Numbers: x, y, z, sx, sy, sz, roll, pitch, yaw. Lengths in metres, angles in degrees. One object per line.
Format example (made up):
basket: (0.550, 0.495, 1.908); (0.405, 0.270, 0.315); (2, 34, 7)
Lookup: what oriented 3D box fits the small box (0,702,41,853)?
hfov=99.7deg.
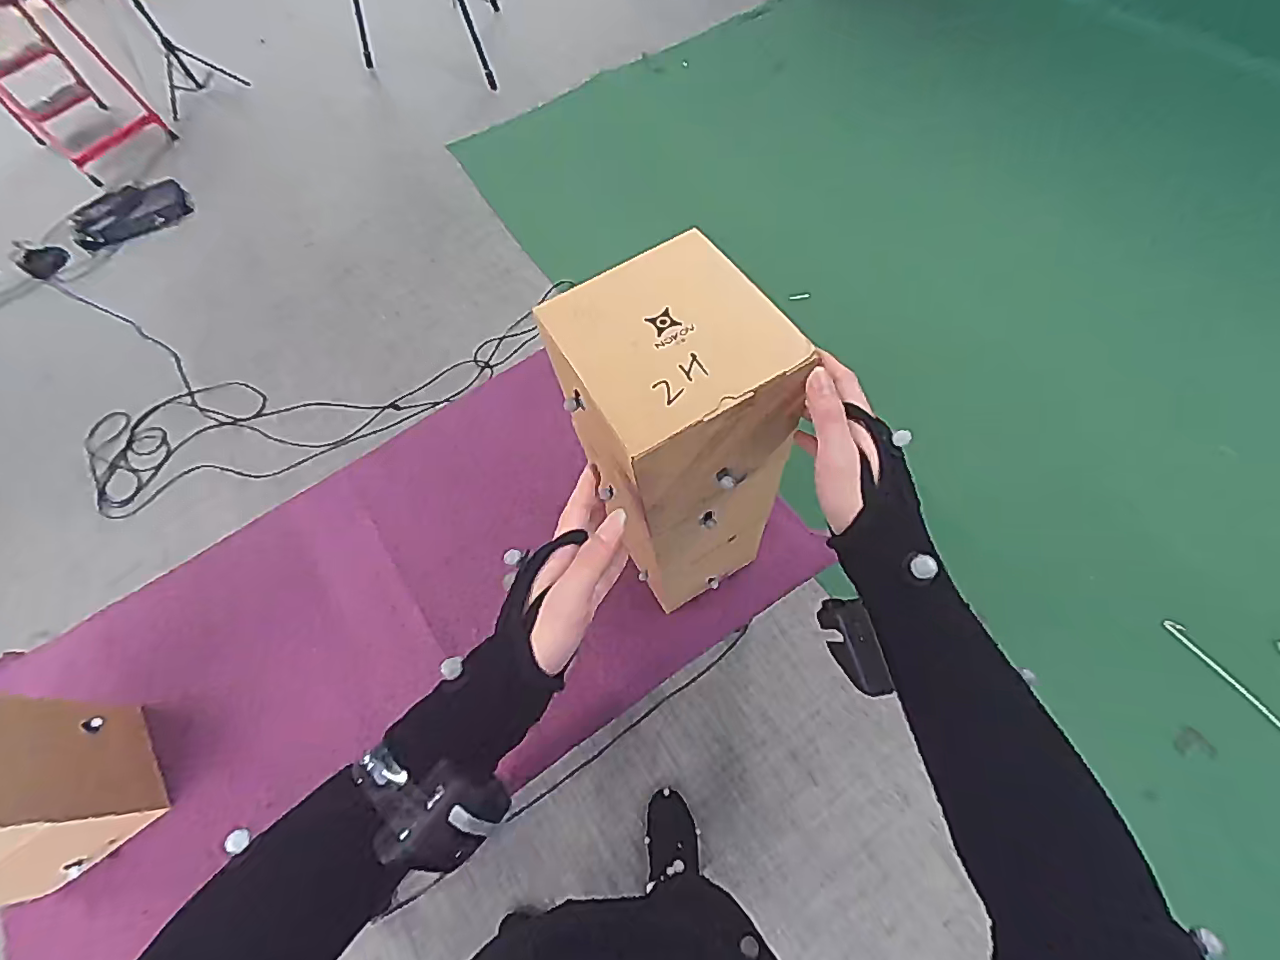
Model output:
small box: (-0.797, 0.338, 0.558); (0.168, 0.176, 0.179); (-37, 67, -12)

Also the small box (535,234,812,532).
small box: (0.027, -0.081, 0.504); (0.168, 0.176, 0.179); (-29, 64, -8)

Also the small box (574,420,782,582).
small box: (0.043, -0.006, 0.650); (0.168, 0.176, 0.179); (-30, 64, -8)

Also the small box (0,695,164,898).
small box: (-0.784, 0.412, 0.703); (0.168, 0.176, 0.179); (-36, 67, -12)
